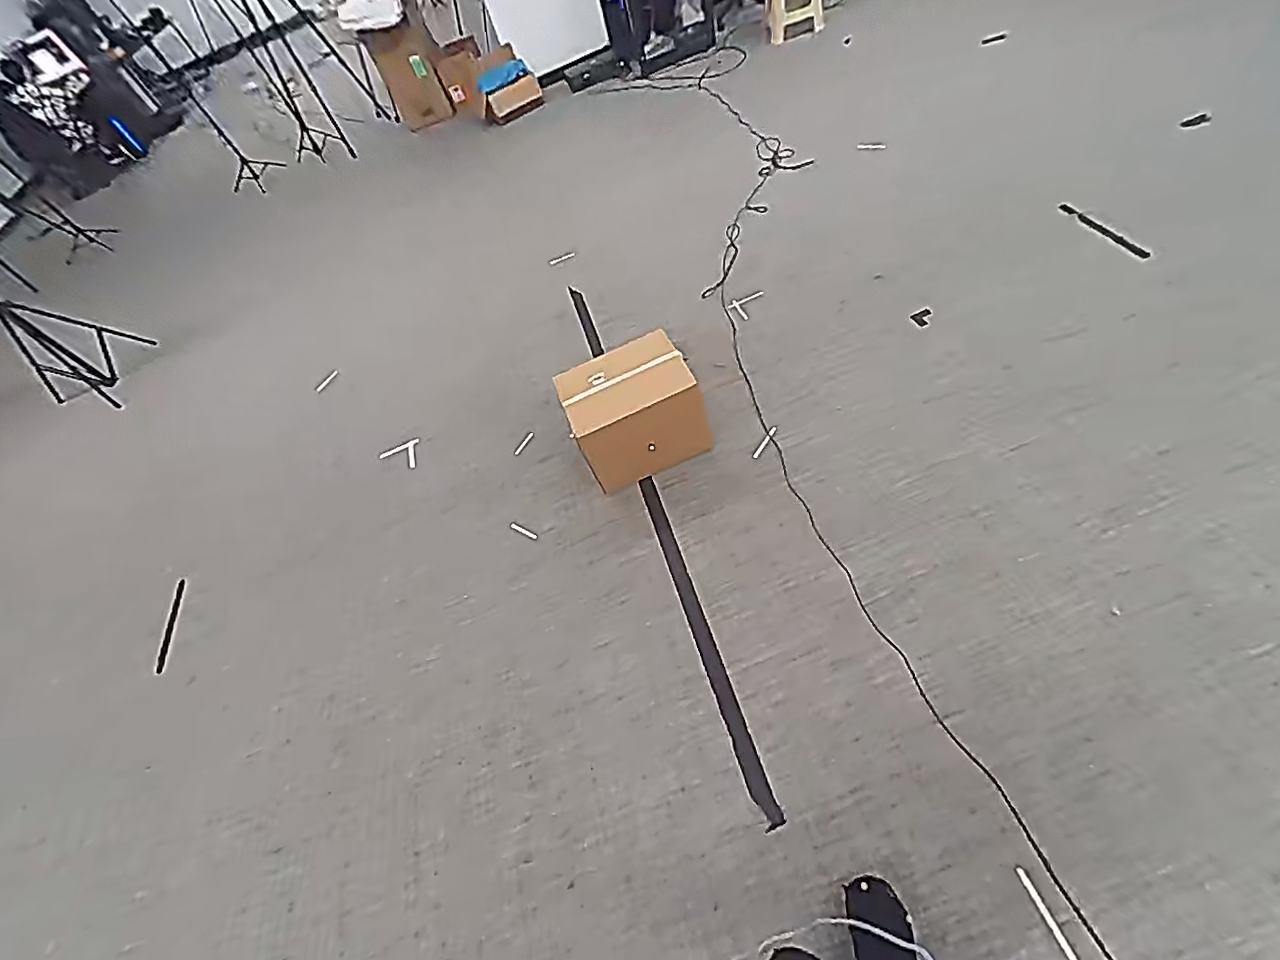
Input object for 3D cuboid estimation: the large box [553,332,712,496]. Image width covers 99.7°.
[{"bbox_3d":[-0.020,-0.215,1.810,0.408,0.320,0.320,-25,50,1],"label":"large box"}]
